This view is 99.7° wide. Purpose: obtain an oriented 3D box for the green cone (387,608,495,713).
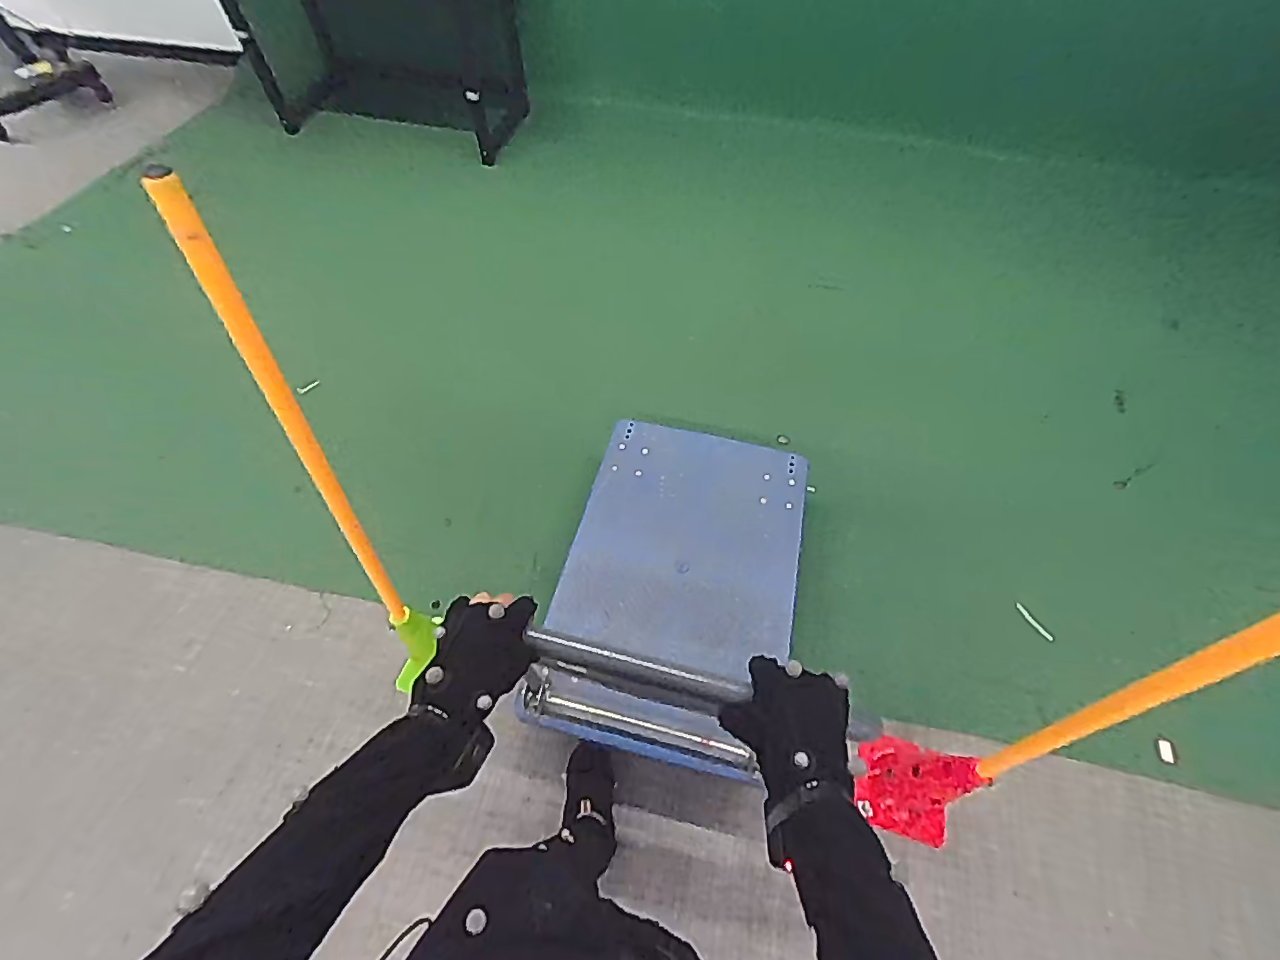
[{"bbox_3d":[-0.497,0.380,1.257,0.202,0.368,0.200,15,56,9],"label":"green cone"}]
